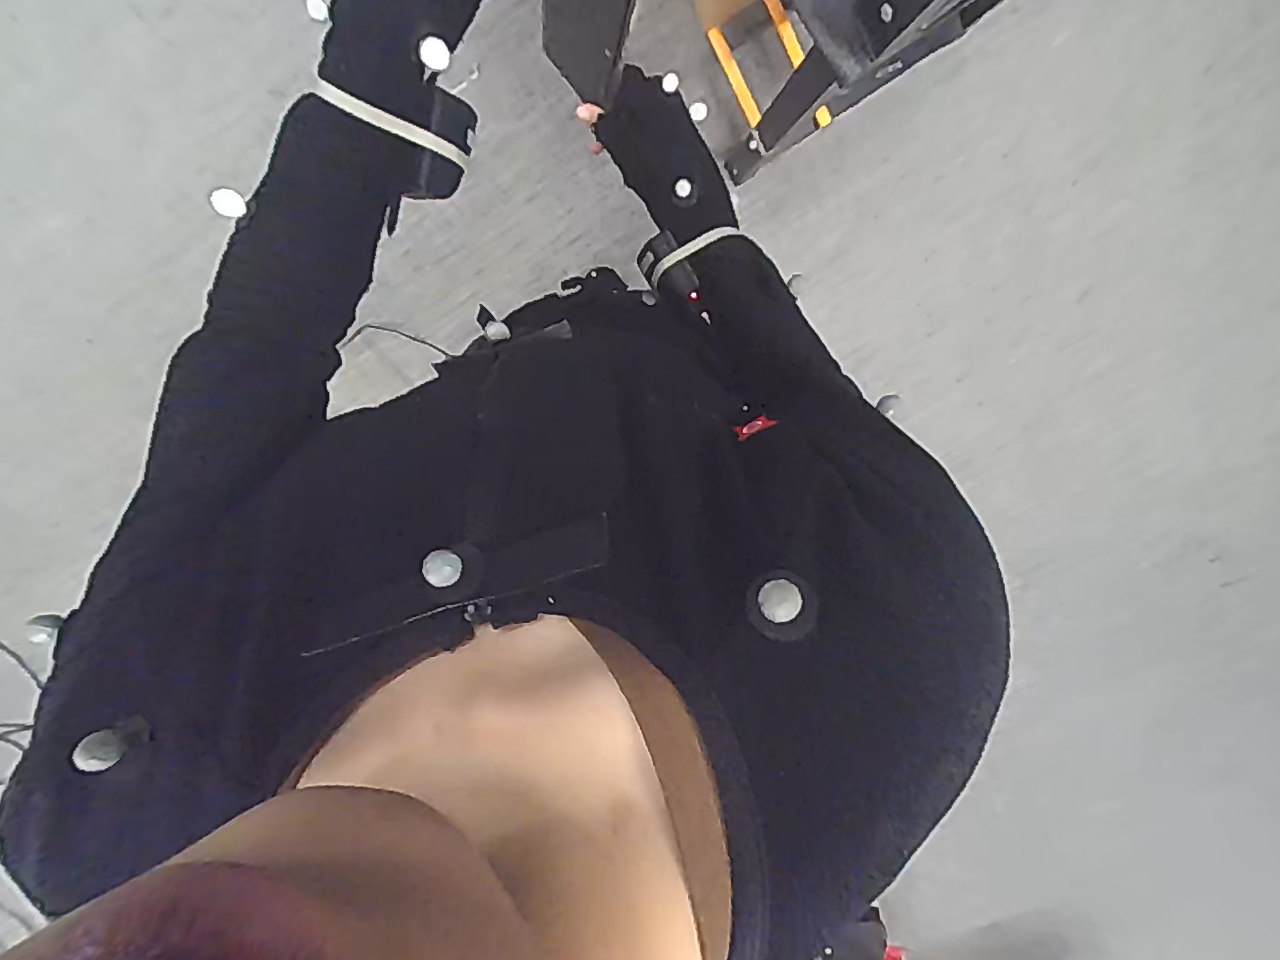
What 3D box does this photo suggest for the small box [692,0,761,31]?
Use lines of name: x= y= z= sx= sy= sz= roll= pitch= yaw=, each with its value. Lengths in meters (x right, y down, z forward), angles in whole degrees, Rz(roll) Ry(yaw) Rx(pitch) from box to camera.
small box: x=0.167 y=-0.976 z=0.981 sx=0.179 sy=0.176 sz=0.168 roll=-27 pitch=107 yaw=9
